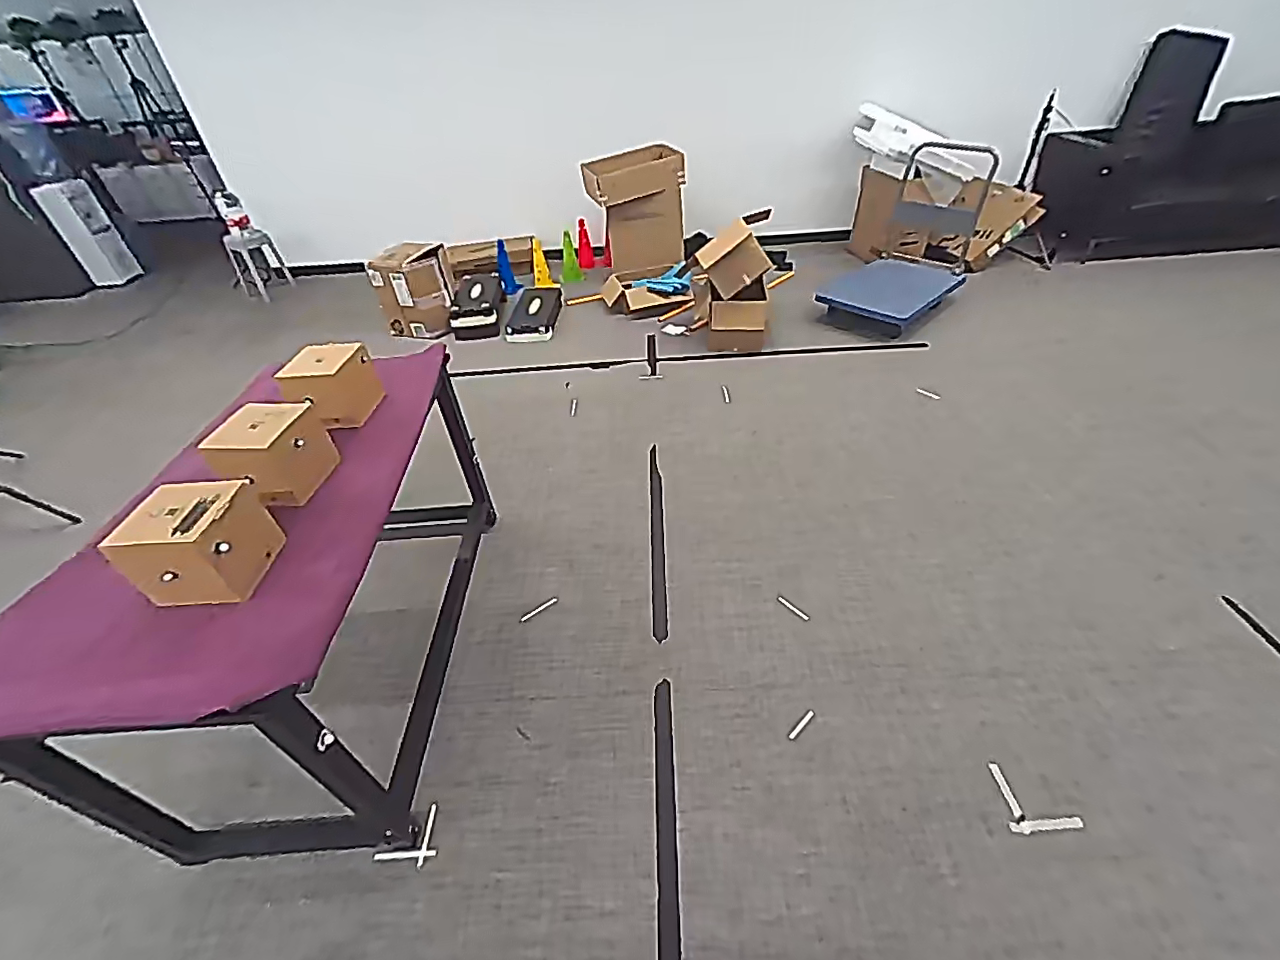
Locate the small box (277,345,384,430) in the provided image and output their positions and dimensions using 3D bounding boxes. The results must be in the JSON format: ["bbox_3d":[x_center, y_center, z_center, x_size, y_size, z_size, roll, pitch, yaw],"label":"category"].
[{"bbox_3d":[-0.831,-0.248,1.476,0.168,0.176,0.179,-3,40,5],"label":"small box"}]

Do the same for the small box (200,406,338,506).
[{"bbox_3d":[-0.837,-0.055,1.246,0.168,0.176,0.179,2,40,7],"label":"small box"}]
